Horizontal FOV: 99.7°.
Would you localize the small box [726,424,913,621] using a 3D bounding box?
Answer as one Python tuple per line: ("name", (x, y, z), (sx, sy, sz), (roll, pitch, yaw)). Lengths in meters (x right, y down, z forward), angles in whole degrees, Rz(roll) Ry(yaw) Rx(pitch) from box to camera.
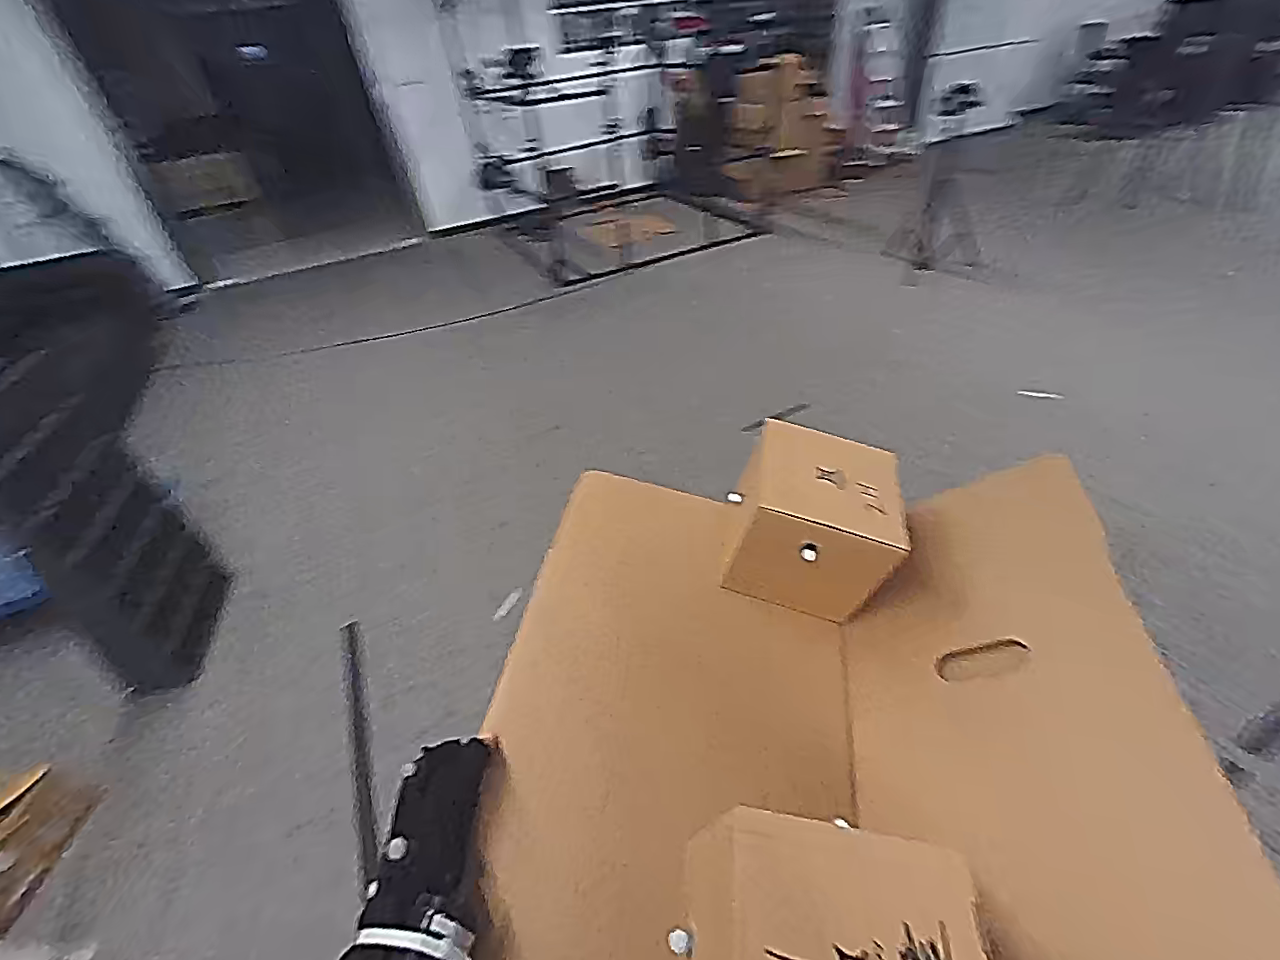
("small box", (0.225, 0.060, 0.710), (0.179, 0.176, 0.168), (18, 47, 3))
